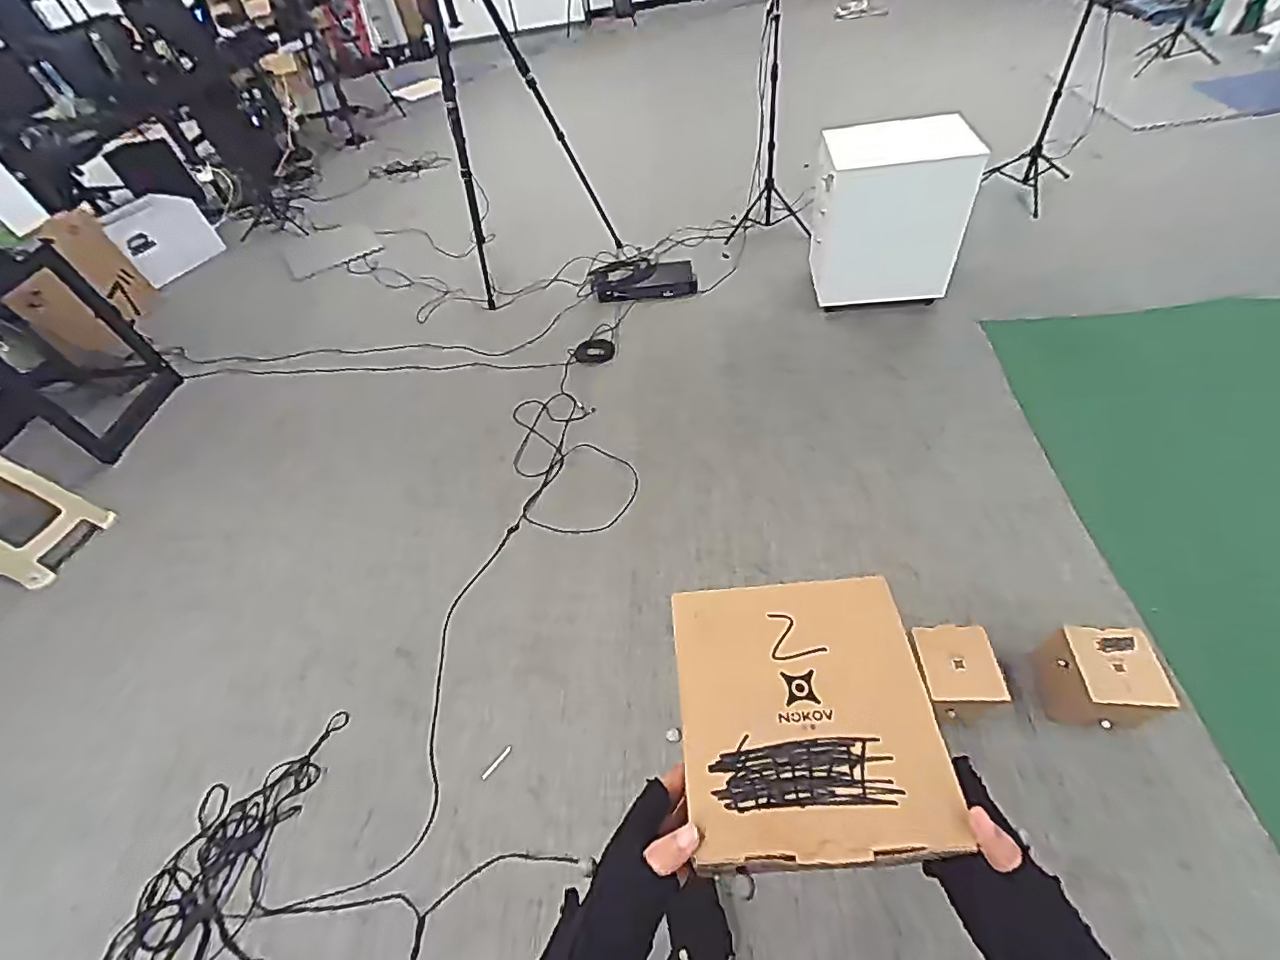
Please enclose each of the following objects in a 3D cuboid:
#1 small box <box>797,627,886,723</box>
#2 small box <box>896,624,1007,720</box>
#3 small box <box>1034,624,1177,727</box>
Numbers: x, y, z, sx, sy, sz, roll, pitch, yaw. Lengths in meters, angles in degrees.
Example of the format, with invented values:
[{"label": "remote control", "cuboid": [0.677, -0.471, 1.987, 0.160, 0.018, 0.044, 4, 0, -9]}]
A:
[{"label": "small box", "cuboid": [0.483, 0.479, 1.327, 0.168, 0.176, 0.179, -3, 50, 8]}, {"label": "small box", "cuboid": [0.737, 0.466, 1.300, 0.168, 0.176, 0.179, -4, 49, 8]}, {"label": "small box", "cuboid": [1.059, 0.452, 1.252, 0.168, 0.176, 0.179, 0, 51, 10]}]
